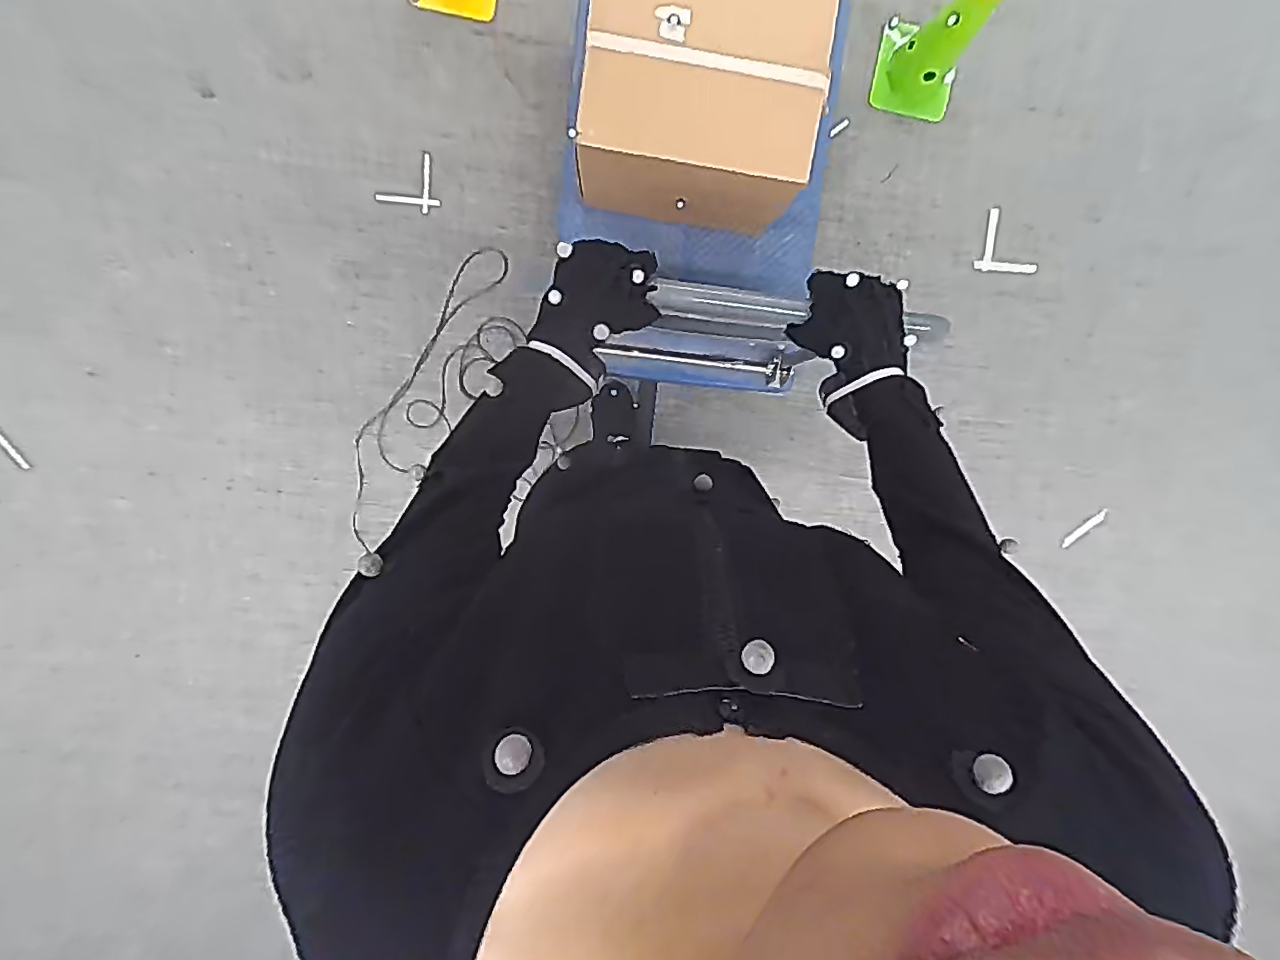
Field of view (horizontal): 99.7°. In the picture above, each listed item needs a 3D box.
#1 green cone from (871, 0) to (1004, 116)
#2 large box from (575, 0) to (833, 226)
[{"bbox_3d":[0.697,-1.002,1.176,0.202,0.368,0.200,9,98,-6],"label":"green cone"},{"bbox_3d":[0.101,-0.714,1.041,0.408,0.320,0.320,8,98,-4],"label":"large box"}]
